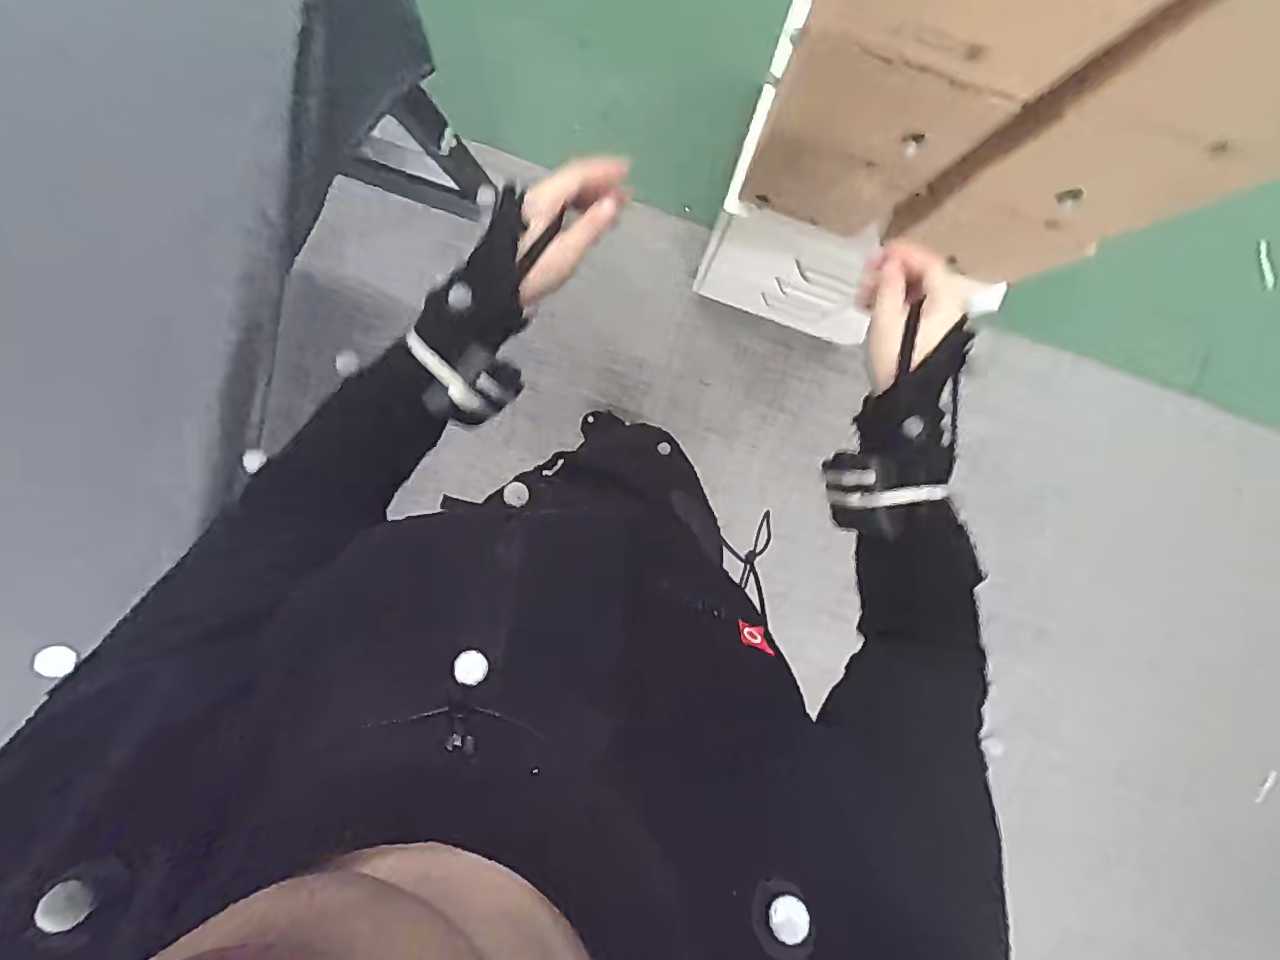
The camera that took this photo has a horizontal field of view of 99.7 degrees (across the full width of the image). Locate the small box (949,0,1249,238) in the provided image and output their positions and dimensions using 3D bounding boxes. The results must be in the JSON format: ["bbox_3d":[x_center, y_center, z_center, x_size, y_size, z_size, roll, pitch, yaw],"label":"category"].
[{"bbox_3d":[0.408,-0.335,0.469,0.168,0.176,0.179,15,99,-2],"label":"small box"}]

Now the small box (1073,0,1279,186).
[{"bbox_3d":[0.407,-0.309,0.308,0.168,0.176,0.179,18,98,-2],"label":"small box"}]
